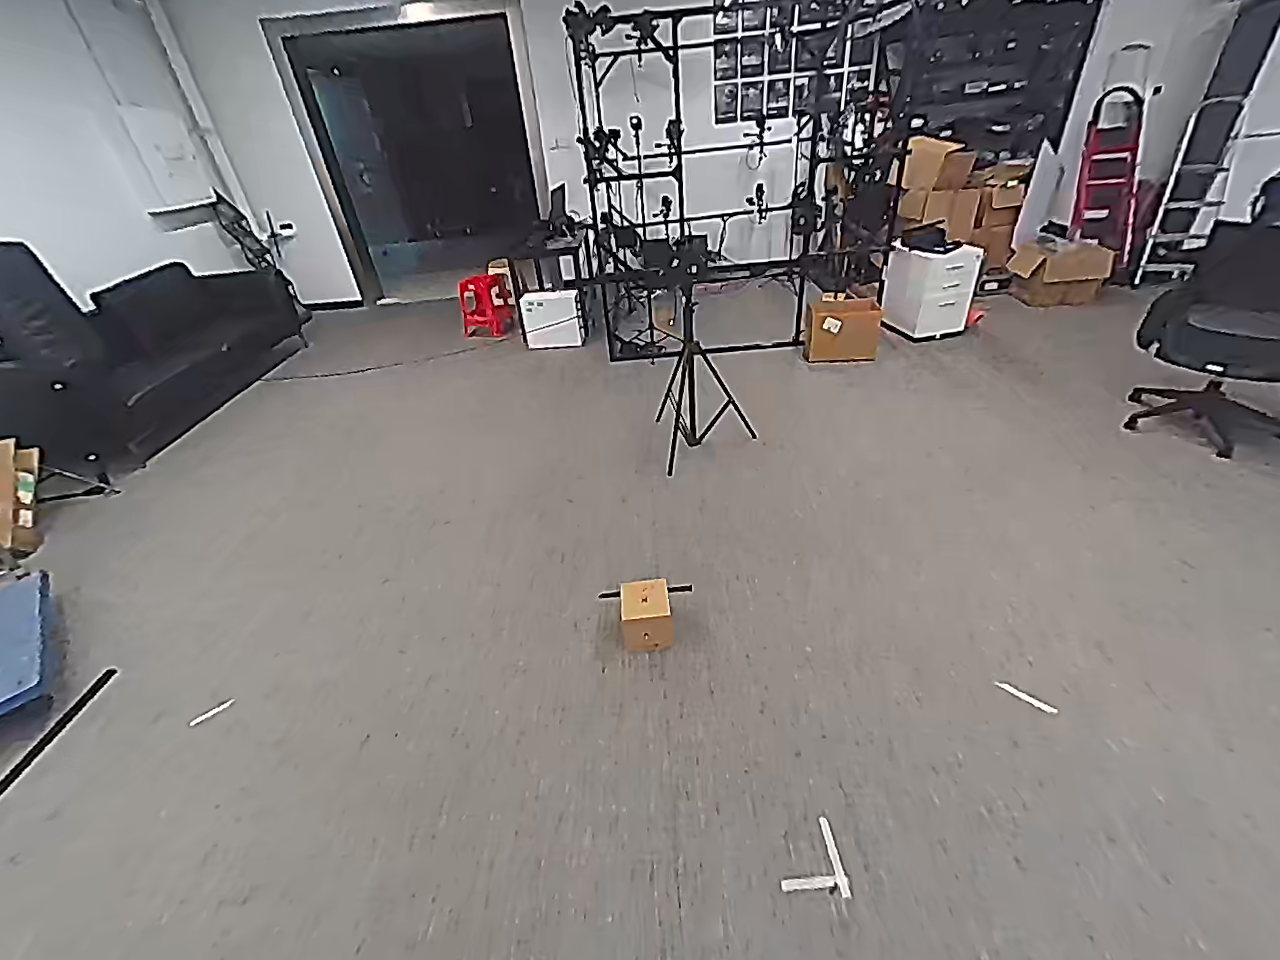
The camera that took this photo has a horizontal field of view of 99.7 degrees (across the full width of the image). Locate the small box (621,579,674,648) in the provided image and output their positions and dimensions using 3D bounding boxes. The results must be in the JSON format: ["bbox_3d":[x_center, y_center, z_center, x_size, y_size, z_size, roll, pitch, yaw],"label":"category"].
[{"bbox_3d":[0.026,0.474,1.899,0.168,0.176,0.179,-6,33,0],"label":"small box"}]
